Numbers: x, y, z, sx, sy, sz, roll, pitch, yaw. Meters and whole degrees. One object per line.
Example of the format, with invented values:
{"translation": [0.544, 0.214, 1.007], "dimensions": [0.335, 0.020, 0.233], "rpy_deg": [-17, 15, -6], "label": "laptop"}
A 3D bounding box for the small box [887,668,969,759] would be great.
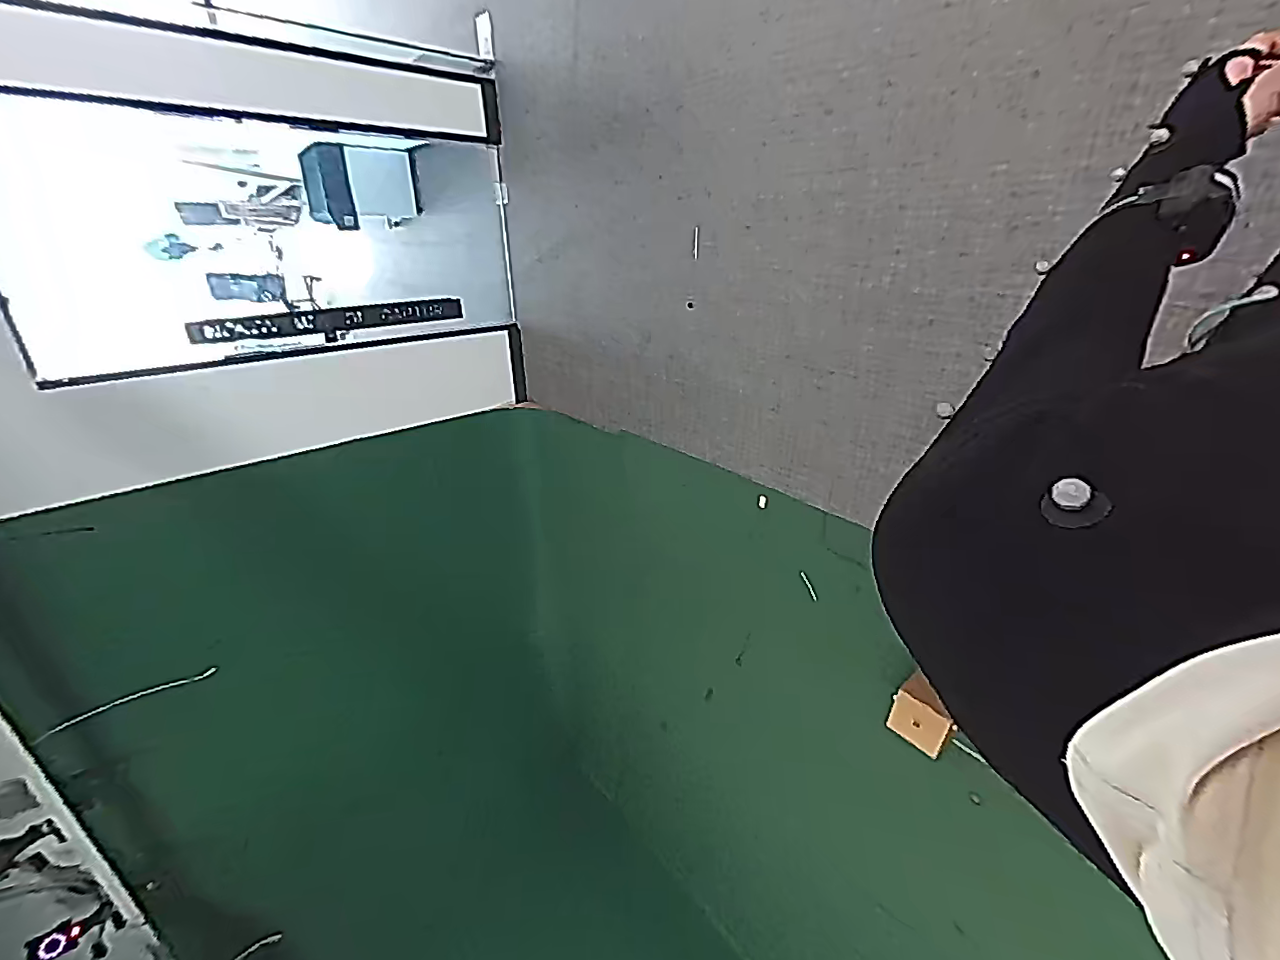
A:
{"translation": [0.947, 0.762, 1.776], "dimensions": [0.168, 0.176, 0.179], "rpy_deg": [29, 127, 41], "label": "small box"}
